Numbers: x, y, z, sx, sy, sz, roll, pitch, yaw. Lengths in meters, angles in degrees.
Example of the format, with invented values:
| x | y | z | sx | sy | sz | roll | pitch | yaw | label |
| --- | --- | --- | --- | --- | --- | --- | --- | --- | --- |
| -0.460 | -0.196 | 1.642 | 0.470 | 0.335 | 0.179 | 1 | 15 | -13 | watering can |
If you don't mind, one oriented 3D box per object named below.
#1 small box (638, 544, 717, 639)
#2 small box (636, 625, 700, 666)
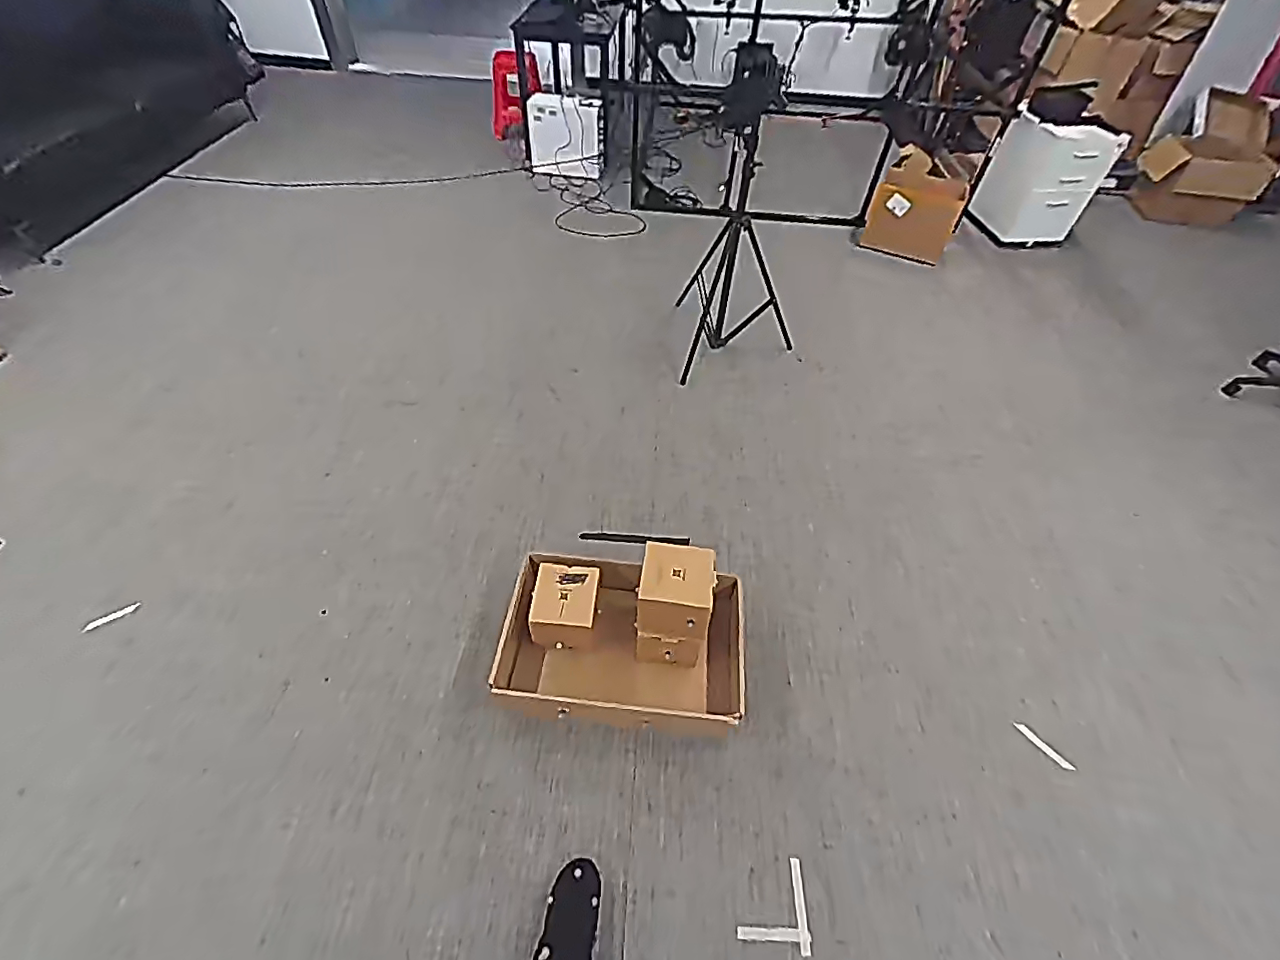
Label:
| x | y | z | sx | sy | sz | roll | pitch | yaw | label |
| --- | --- | --- | --- | --- | --- | --- | --- | --- | --- |
| 0.092 | 0.282 | 1.350 | 0.179 | 0.176 | 0.168 | 6 | 48 | 5 | small box |
| 0.084 | 0.391 | 1.474 | 0.168 | 0.176 | 0.179 | 5 | 51 | 5 | small box |
